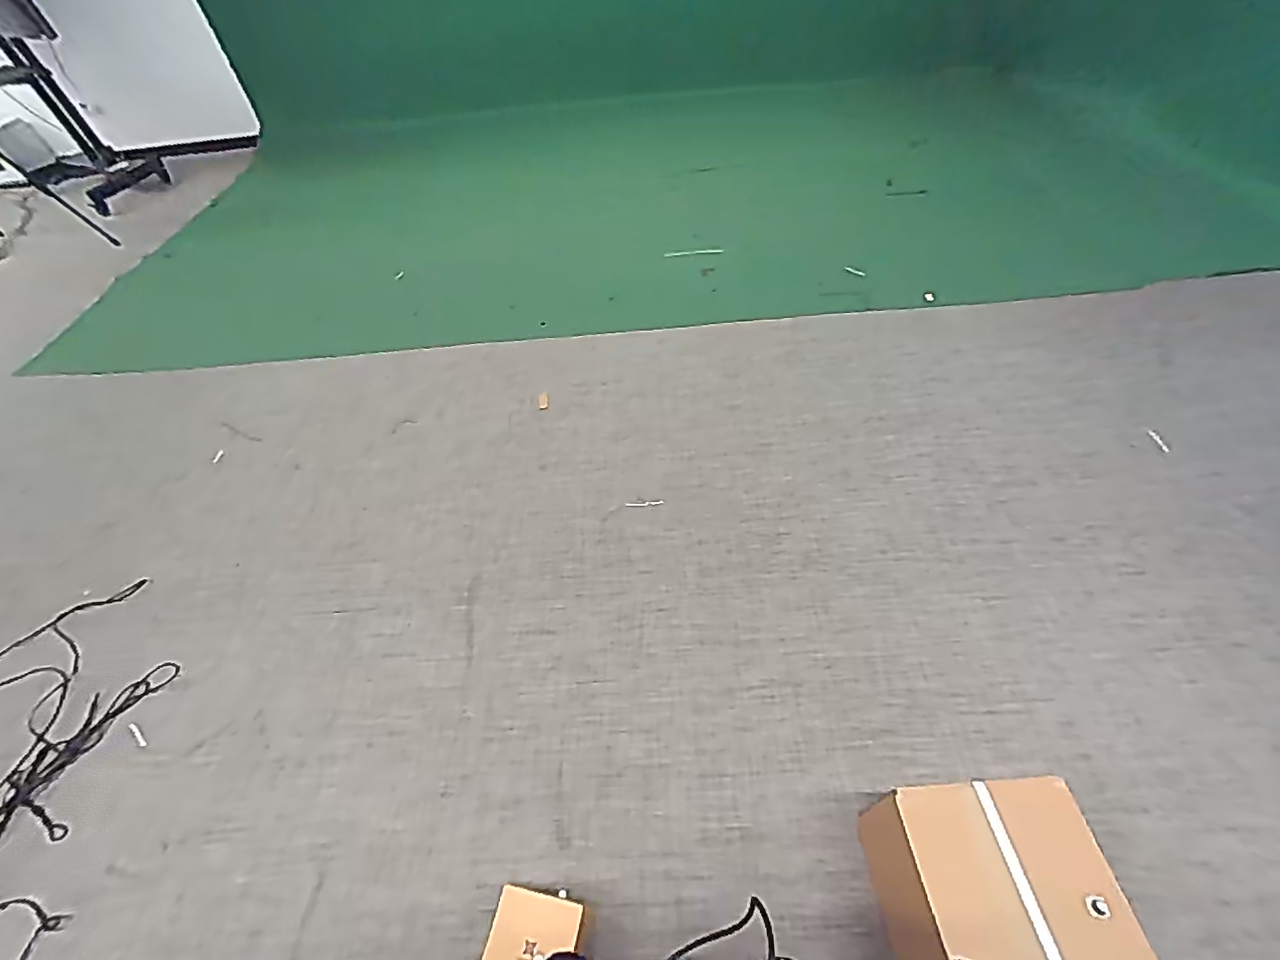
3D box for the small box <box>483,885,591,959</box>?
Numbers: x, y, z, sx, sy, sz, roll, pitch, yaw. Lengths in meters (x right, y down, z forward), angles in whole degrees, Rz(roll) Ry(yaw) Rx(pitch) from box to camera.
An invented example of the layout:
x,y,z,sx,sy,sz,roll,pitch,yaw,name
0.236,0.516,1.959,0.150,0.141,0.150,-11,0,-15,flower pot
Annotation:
x,y,z,sx,sy,sz,roll,pitch,yaw,name
-0.201,0.928,1.062,0.168,0.176,0.179,6,51,11,small box
